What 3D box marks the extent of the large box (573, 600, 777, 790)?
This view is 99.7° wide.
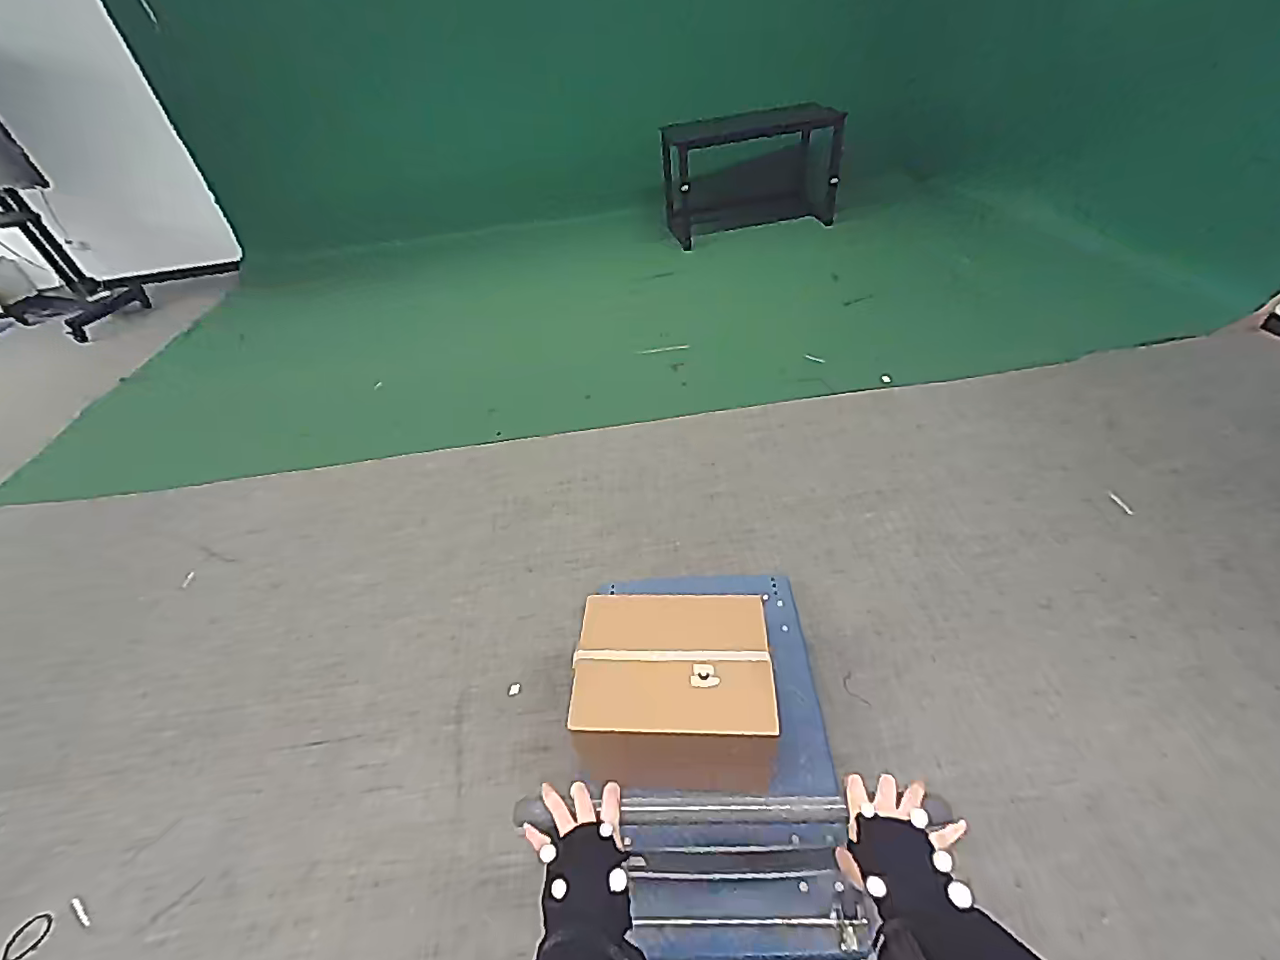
[{"bbox_3d":[0.080,0.494,1.248,0.408,0.320,0.320,-1,42,5],"label":"large box"}]
